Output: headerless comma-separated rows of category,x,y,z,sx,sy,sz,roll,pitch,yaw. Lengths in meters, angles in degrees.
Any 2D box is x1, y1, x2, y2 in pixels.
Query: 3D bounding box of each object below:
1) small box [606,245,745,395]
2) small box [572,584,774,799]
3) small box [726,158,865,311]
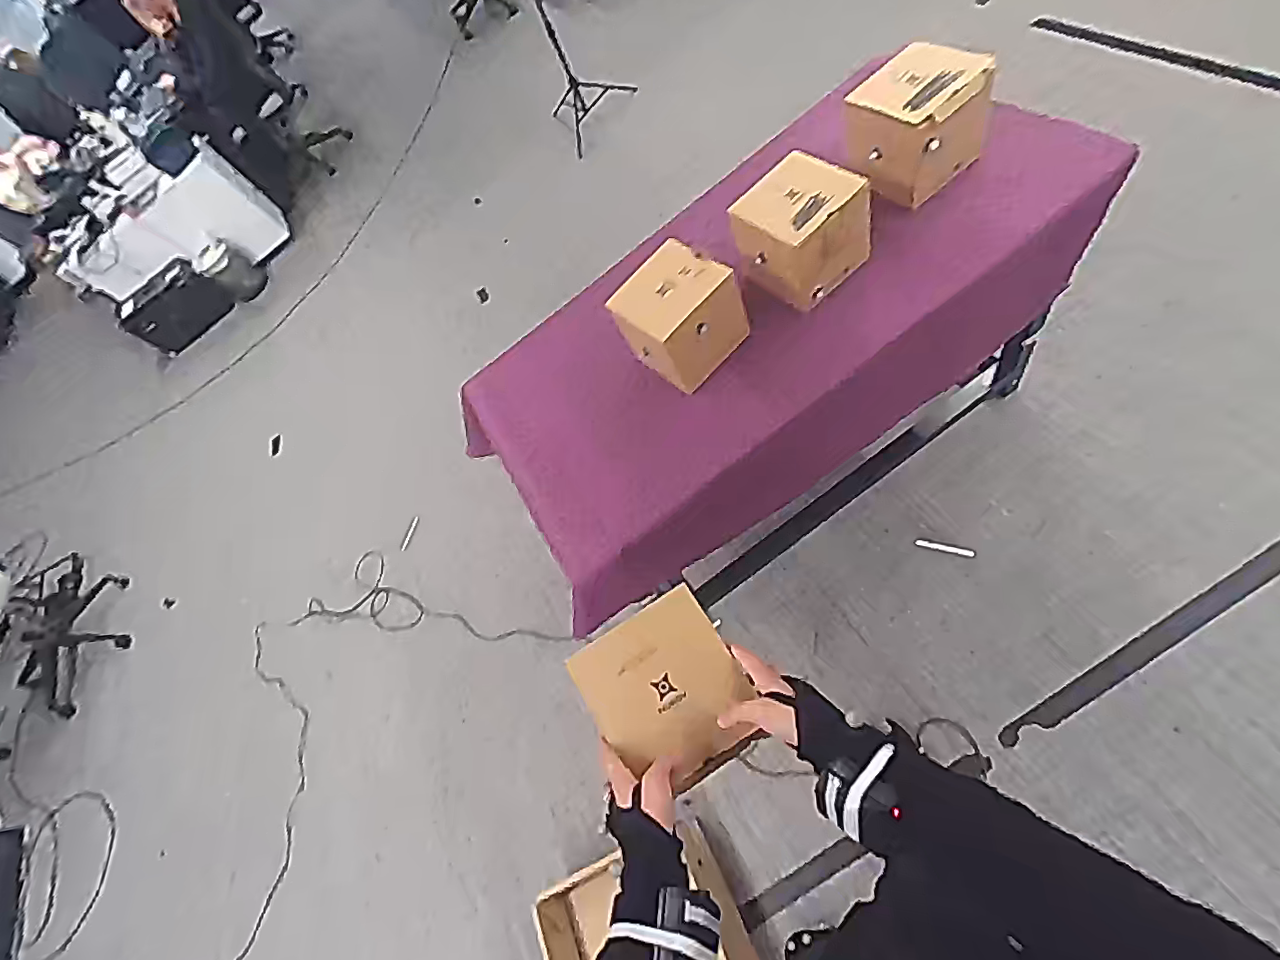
small box,0.074,-0.293,1.017,0.179,0.176,0.168,-45,58,-3
small box,0.039,0.248,0.673,0.168,0.176,0.179,-30,76,-6
small box,0.292,-0.444,0.998,0.168,0.176,0.179,-42,56,-1
